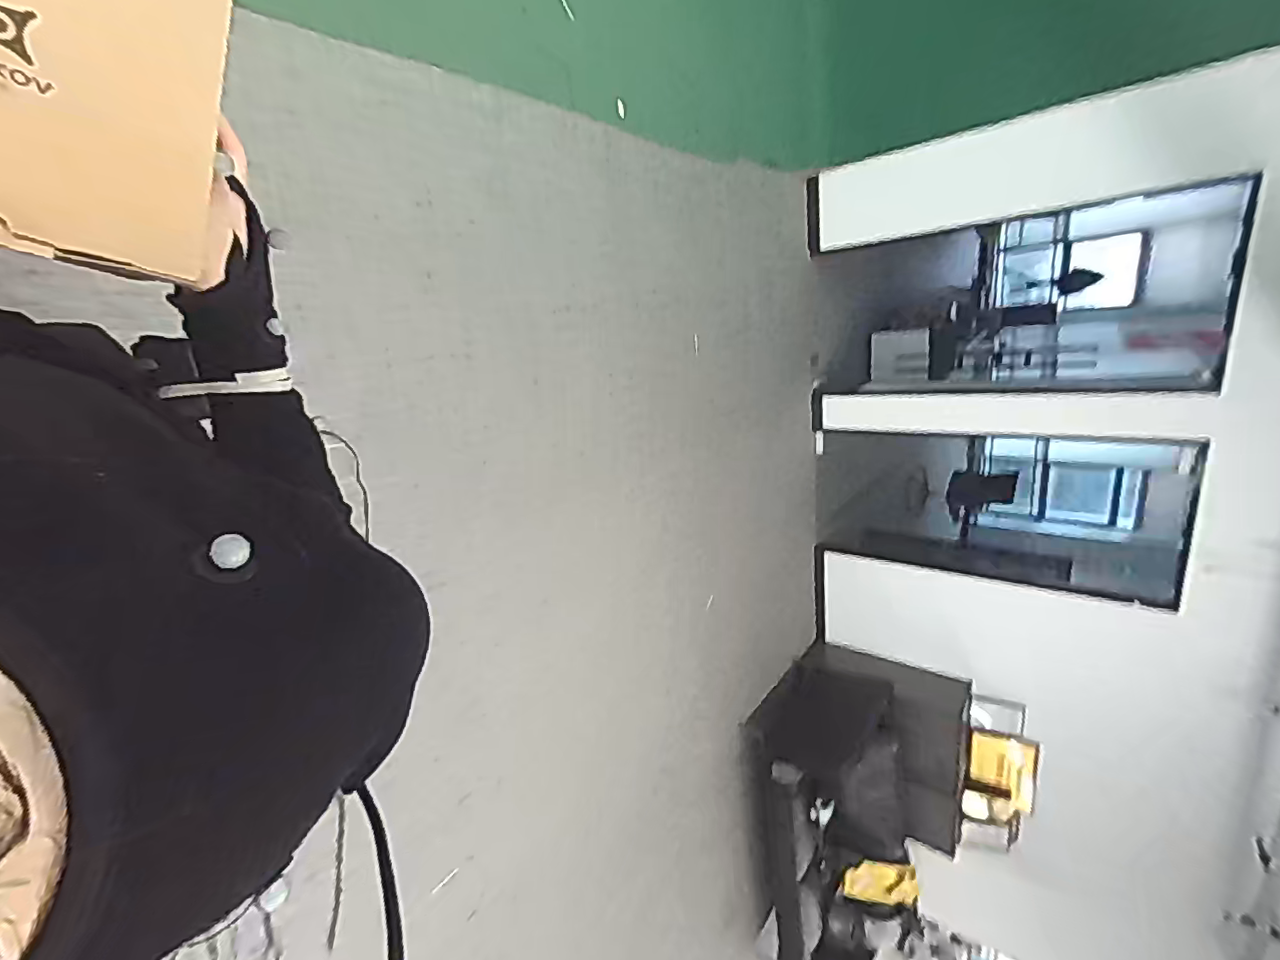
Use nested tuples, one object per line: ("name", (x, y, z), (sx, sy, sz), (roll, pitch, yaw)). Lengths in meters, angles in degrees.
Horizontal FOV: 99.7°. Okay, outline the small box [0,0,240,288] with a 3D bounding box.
("small box", (-0.350, -0.221, 0.289), (0.168, 0.176, 0.179), (3, 104, -54))
